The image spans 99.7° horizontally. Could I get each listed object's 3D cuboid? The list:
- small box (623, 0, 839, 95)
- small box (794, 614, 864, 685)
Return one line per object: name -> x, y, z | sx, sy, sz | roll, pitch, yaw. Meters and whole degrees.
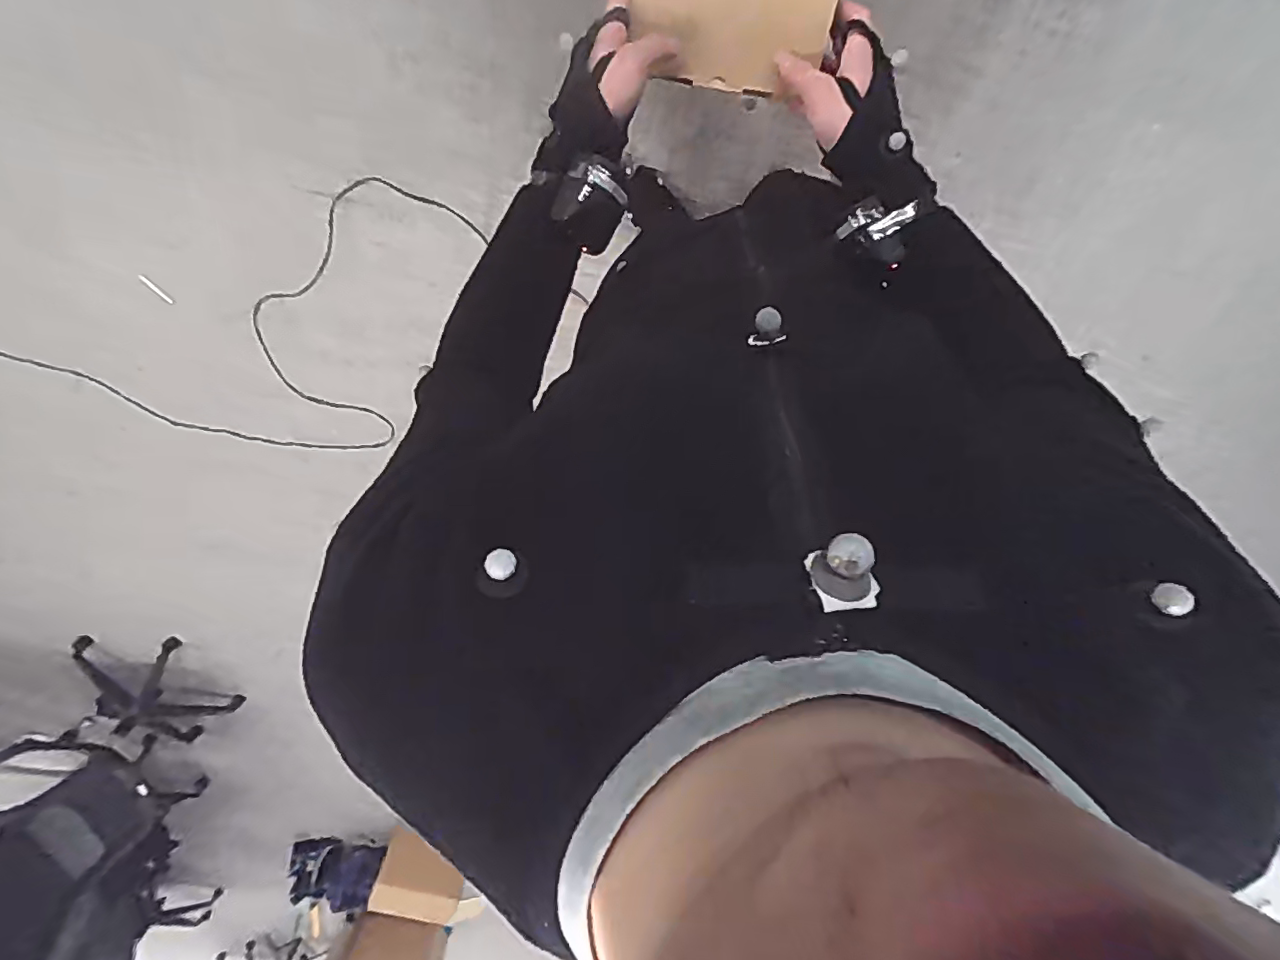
small box -> 0.085, -0.450, 0.462 | 0.168, 0.176, 0.179 | 9, 127, 0
small box -> 0.676, 0.610, 1.958 | 0.168, 0.176, 0.179 | 10, 120, -5
